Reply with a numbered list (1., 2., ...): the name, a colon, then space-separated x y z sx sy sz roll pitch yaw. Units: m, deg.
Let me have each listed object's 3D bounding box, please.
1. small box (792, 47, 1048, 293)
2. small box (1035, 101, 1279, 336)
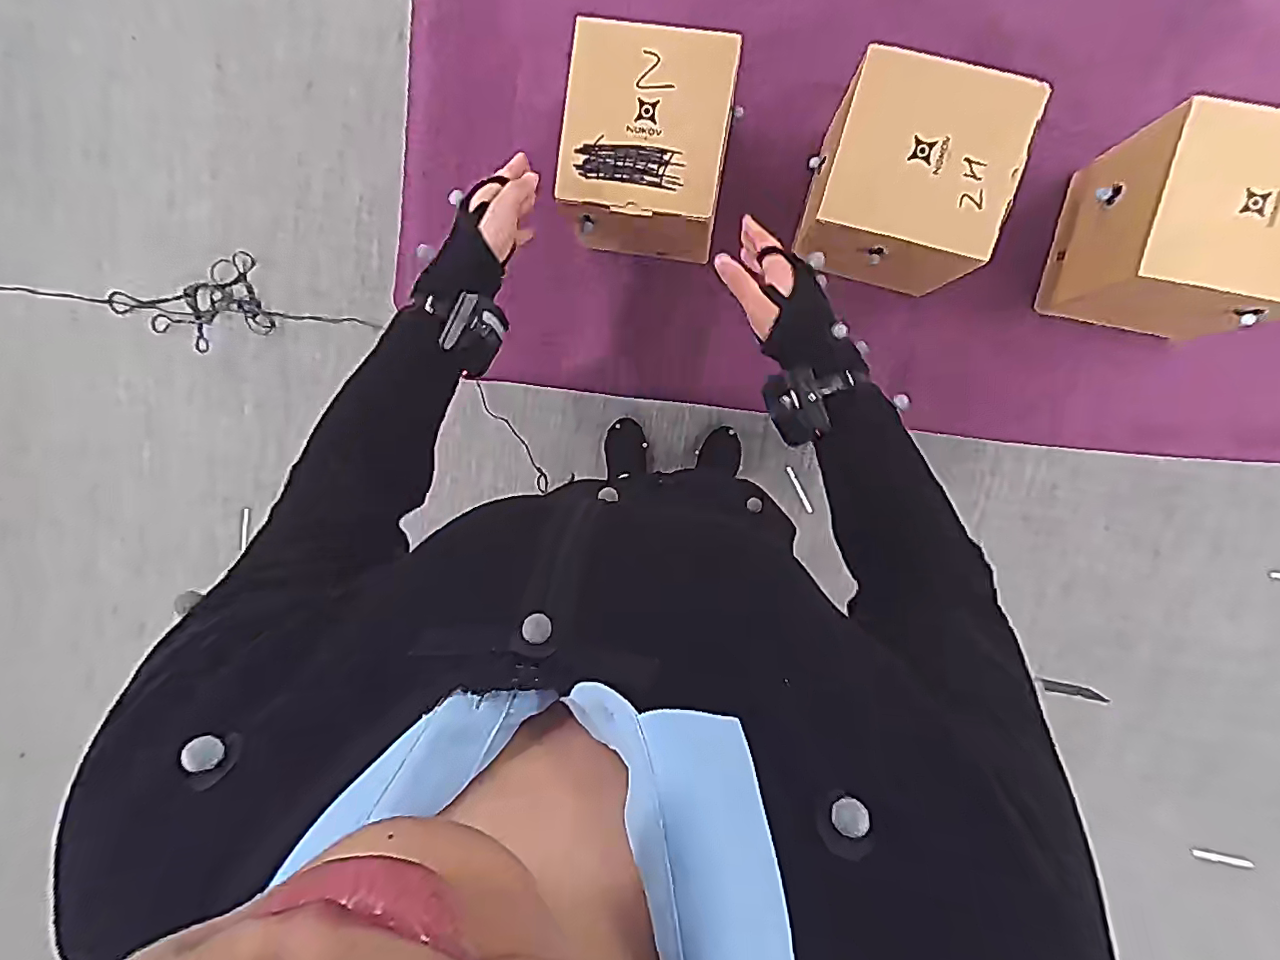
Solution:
1. small box: 0.285 -0.322 0.600 0.179 0.176 0.168 17 99 3
2. small box: 0.578 -0.262 0.582 0.179 0.176 0.168 12 97 3
